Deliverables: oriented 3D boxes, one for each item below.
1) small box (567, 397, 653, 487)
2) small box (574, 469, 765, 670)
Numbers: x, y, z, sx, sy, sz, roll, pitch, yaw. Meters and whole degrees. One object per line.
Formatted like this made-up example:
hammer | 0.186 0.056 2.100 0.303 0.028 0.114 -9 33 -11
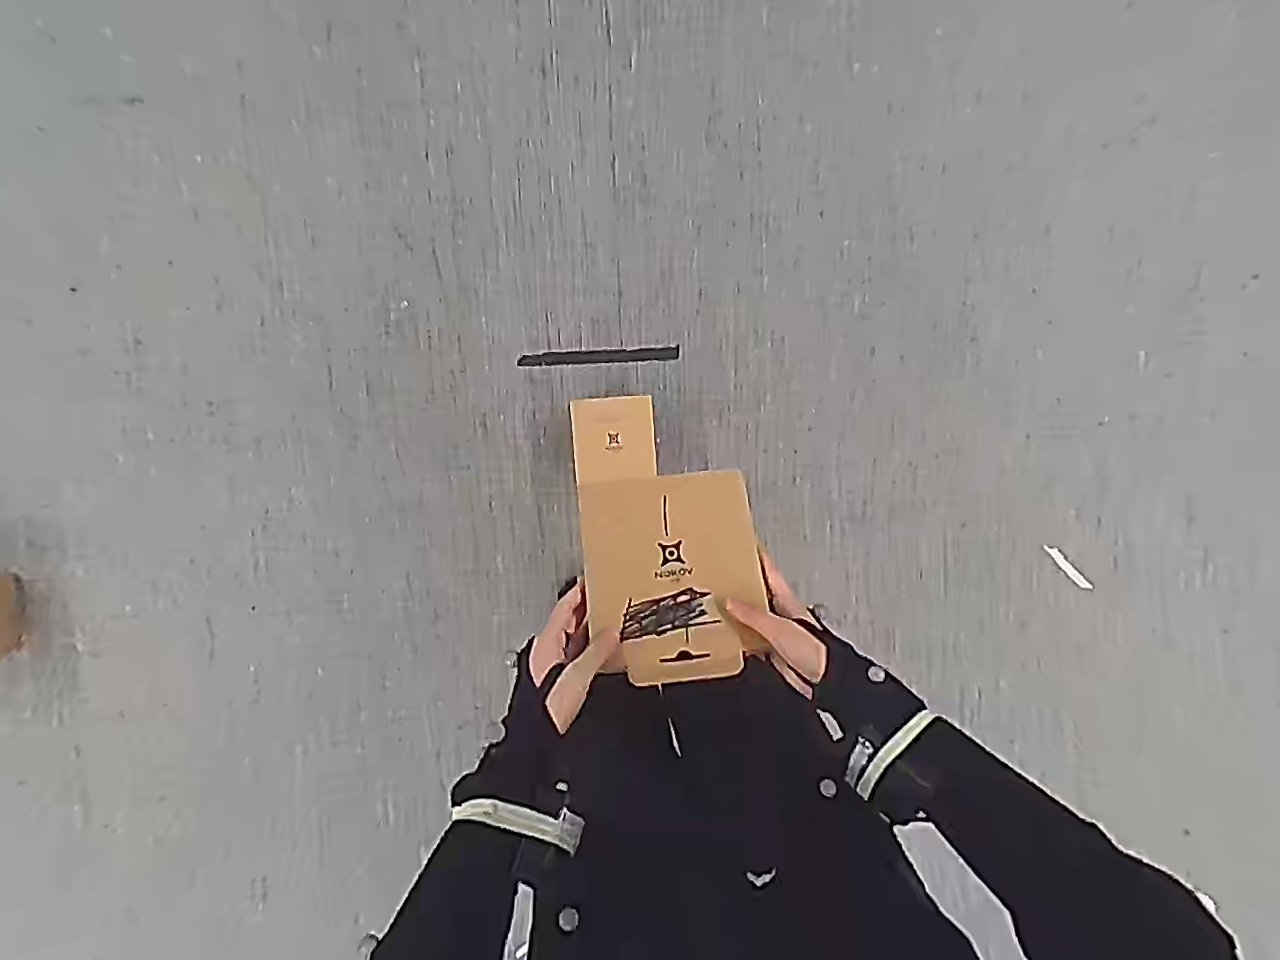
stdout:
small box | -0.063 -0.081 1.160 0.168 0.176 0.179 -5 93 -4
small box | 0.026 0.104 0.581 0.168 0.176 0.179 -6 70 -2
